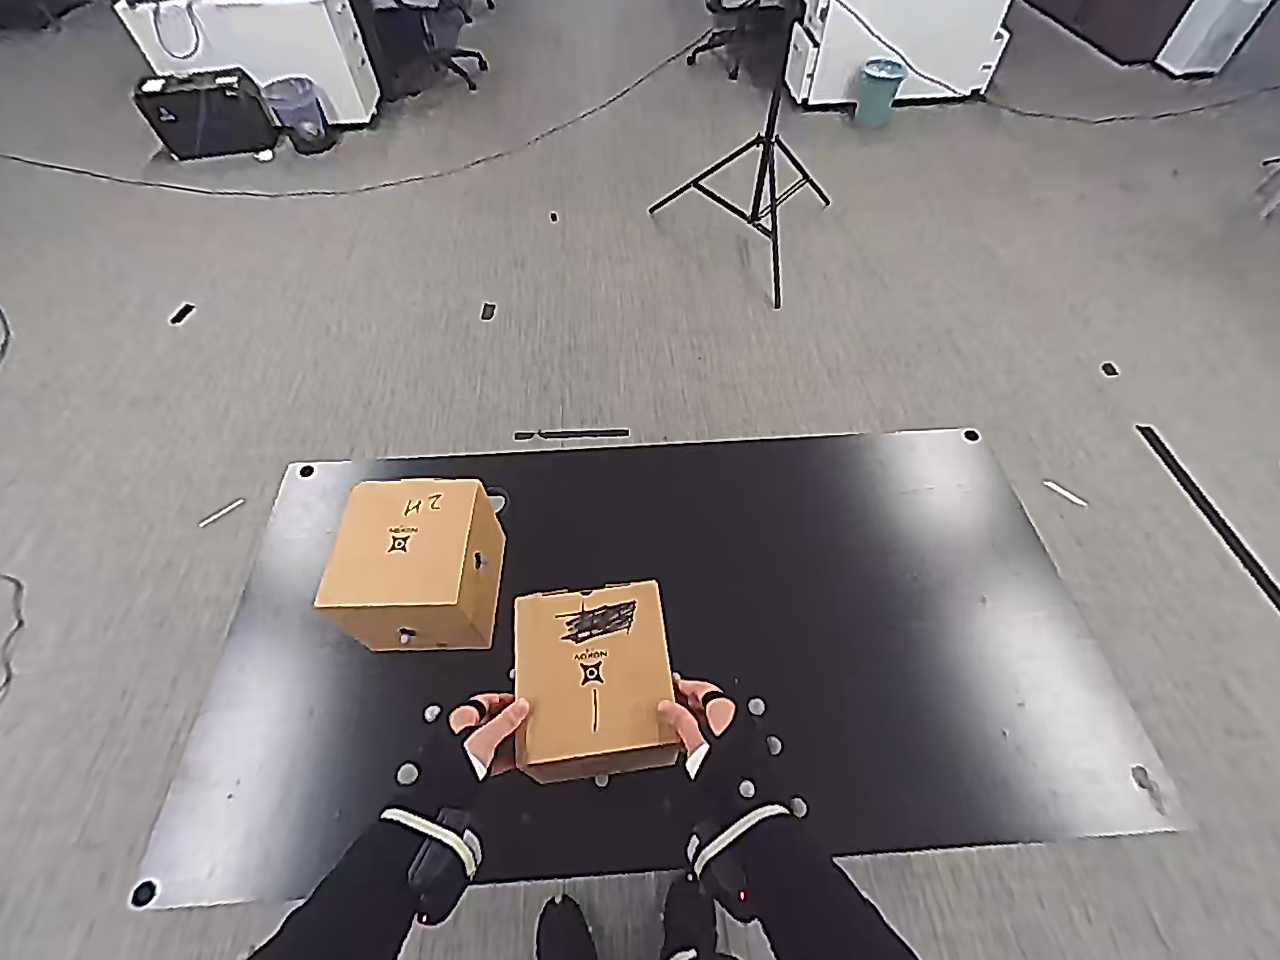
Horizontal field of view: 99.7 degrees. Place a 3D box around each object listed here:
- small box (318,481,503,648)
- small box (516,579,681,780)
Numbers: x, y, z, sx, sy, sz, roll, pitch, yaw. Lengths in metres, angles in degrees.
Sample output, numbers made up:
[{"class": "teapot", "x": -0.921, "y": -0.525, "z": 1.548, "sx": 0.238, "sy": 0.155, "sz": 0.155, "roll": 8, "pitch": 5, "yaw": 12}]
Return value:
[{"class": "small box", "x": -0.290, "y": 0.121, "z": 0.731, "sx": 0.168, "sy": 0.176, "sz": 0.179, "roll": -1, "pitch": 55, "yaw": 0}, {"class": "small box", "x": -0.050, "y": 0.240, "z": 0.643, "sx": 0.168, "sy": 0.176, "sz": 0.179, "roll": -7, "pitch": 56, "yaw": -3}]
